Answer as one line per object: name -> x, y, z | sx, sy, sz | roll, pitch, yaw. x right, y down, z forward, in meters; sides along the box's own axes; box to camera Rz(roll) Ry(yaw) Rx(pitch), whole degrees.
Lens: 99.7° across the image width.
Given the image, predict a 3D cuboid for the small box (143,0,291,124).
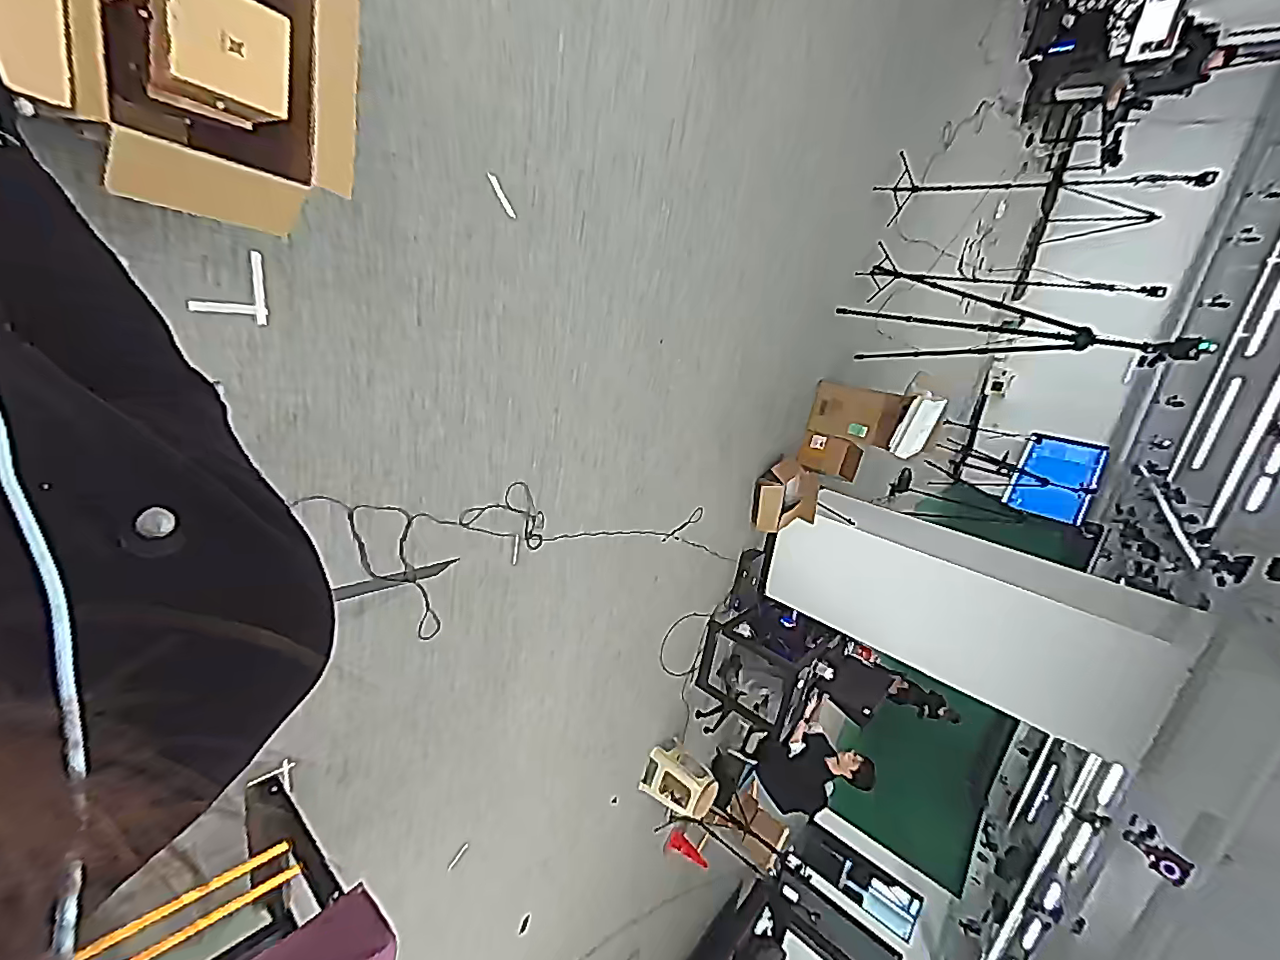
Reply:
small box -> -0.766, -0.774, 0.982 | 0.179, 0.176, 0.168 | -8, 116, -51
